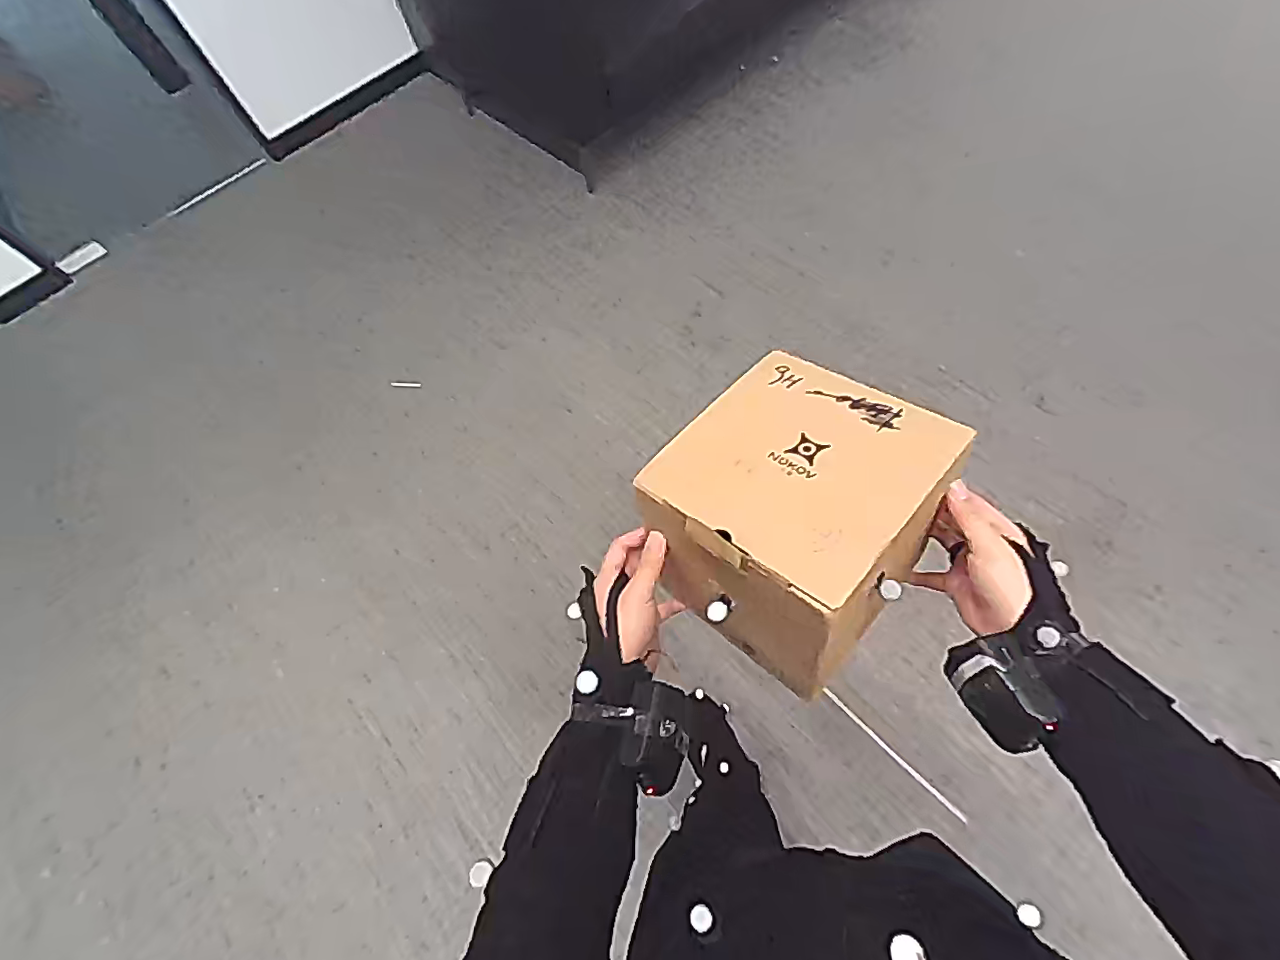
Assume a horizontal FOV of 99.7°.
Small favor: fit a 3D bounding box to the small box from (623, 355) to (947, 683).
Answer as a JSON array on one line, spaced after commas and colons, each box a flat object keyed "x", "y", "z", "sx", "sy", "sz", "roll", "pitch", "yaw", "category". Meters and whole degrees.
[{"x": 0.116, "y": 0.034, "z": 0.449, "sx": 0.168, "sy": 0.176, "sz": 0.179, "roll": 32, "pitch": 65, "yaw": 32, "category": "small box"}]
